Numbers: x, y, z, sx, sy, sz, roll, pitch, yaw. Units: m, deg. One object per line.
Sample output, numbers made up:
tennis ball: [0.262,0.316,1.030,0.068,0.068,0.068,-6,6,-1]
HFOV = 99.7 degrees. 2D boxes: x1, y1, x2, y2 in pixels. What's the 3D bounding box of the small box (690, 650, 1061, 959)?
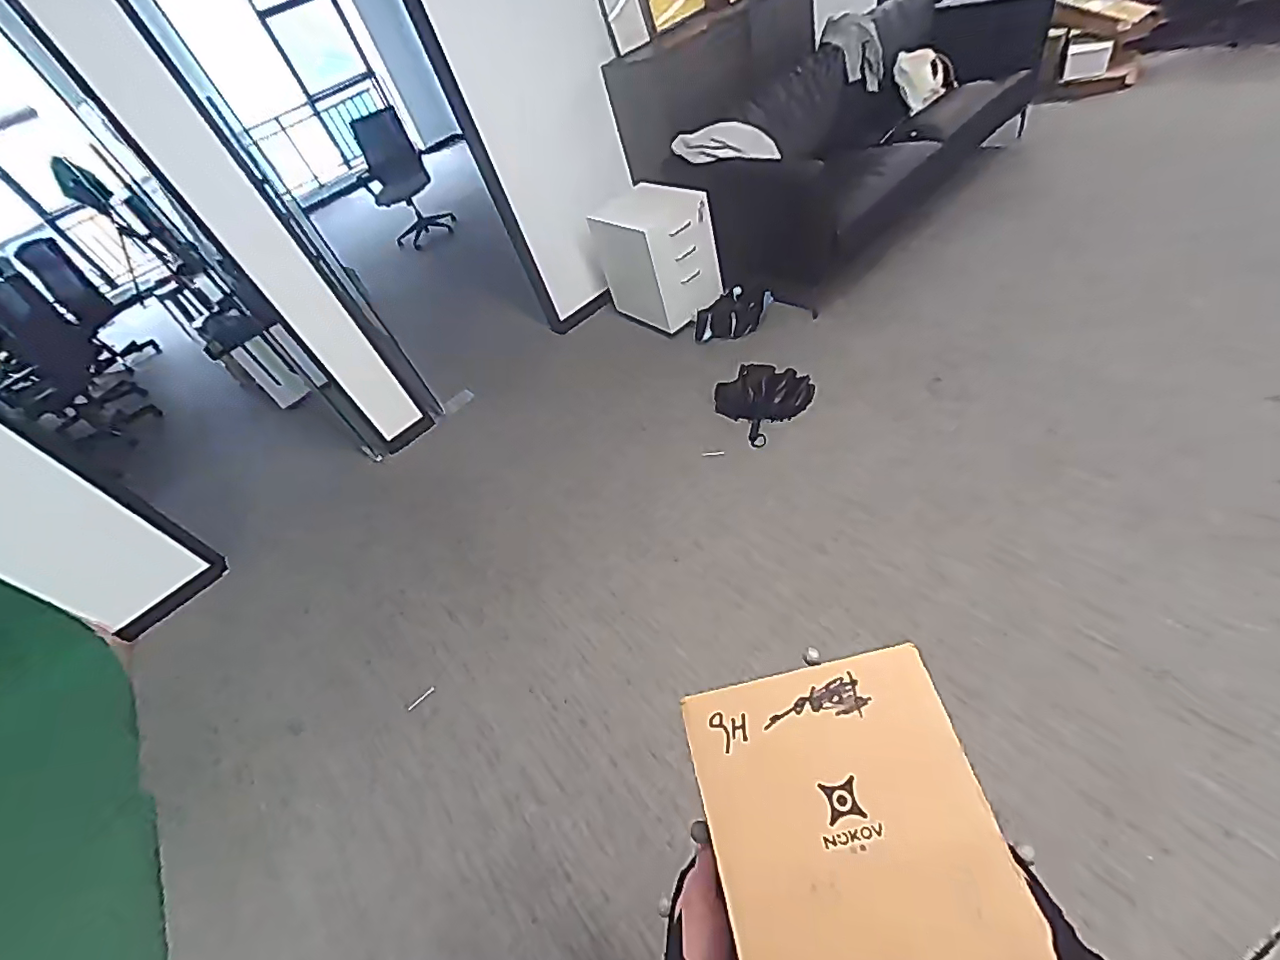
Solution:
small box: [0.139,0.242,0.396,0.168,0.176,0.179,-13,62,0]
